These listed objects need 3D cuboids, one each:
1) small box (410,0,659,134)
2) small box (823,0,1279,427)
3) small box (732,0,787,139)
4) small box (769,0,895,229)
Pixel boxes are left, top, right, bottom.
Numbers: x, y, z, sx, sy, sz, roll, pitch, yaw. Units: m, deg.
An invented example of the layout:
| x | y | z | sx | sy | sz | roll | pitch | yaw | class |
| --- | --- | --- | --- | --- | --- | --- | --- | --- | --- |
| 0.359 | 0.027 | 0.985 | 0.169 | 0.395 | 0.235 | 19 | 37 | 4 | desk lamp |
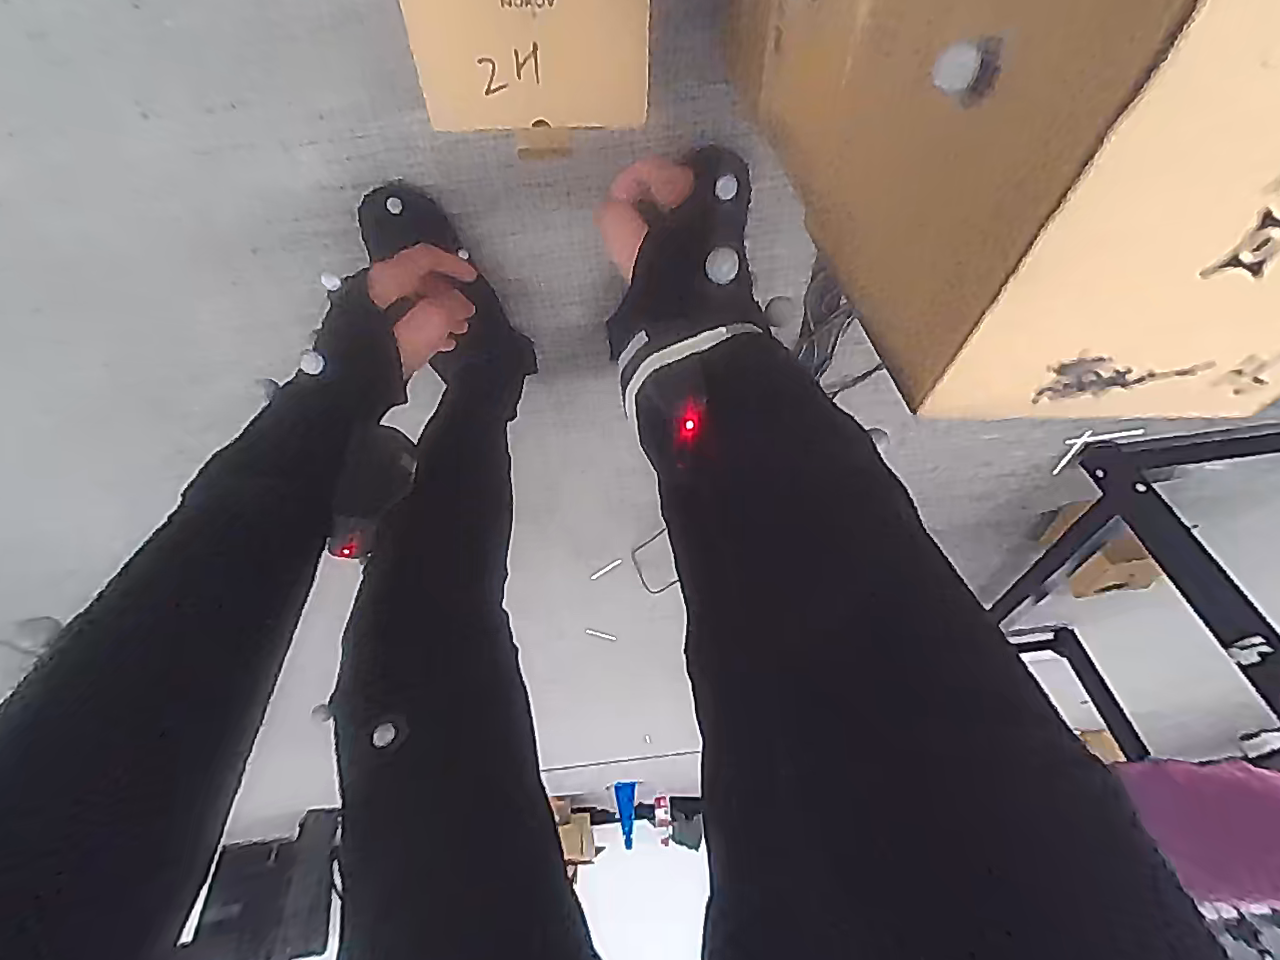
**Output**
| x | y | z | sx | sy | sz | roll | pitch | yaw | class |
| --- | --- | --- | --- | --- | --- | --- | --- | --- | --- |
| -0.076 | -0.383 | 0.398 | 0.168 | 0.176 | 0.179 | -3 | 142 | -4 | small box |
| 0.196 | -0.141 | 0.219 | 0.168 | 0.176 | 0.179 | 0 | 141 | -7 | small box |
| 0.170 | -0.398 | 0.418 | 0.168 | 0.176 | 0.179 | -6 | 142 | 0 | small box |
| 0.185 | -0.271 | 0.319 | 0.179 | 0.176 | 0.168 | -5 | 142 | -1 | small box |
